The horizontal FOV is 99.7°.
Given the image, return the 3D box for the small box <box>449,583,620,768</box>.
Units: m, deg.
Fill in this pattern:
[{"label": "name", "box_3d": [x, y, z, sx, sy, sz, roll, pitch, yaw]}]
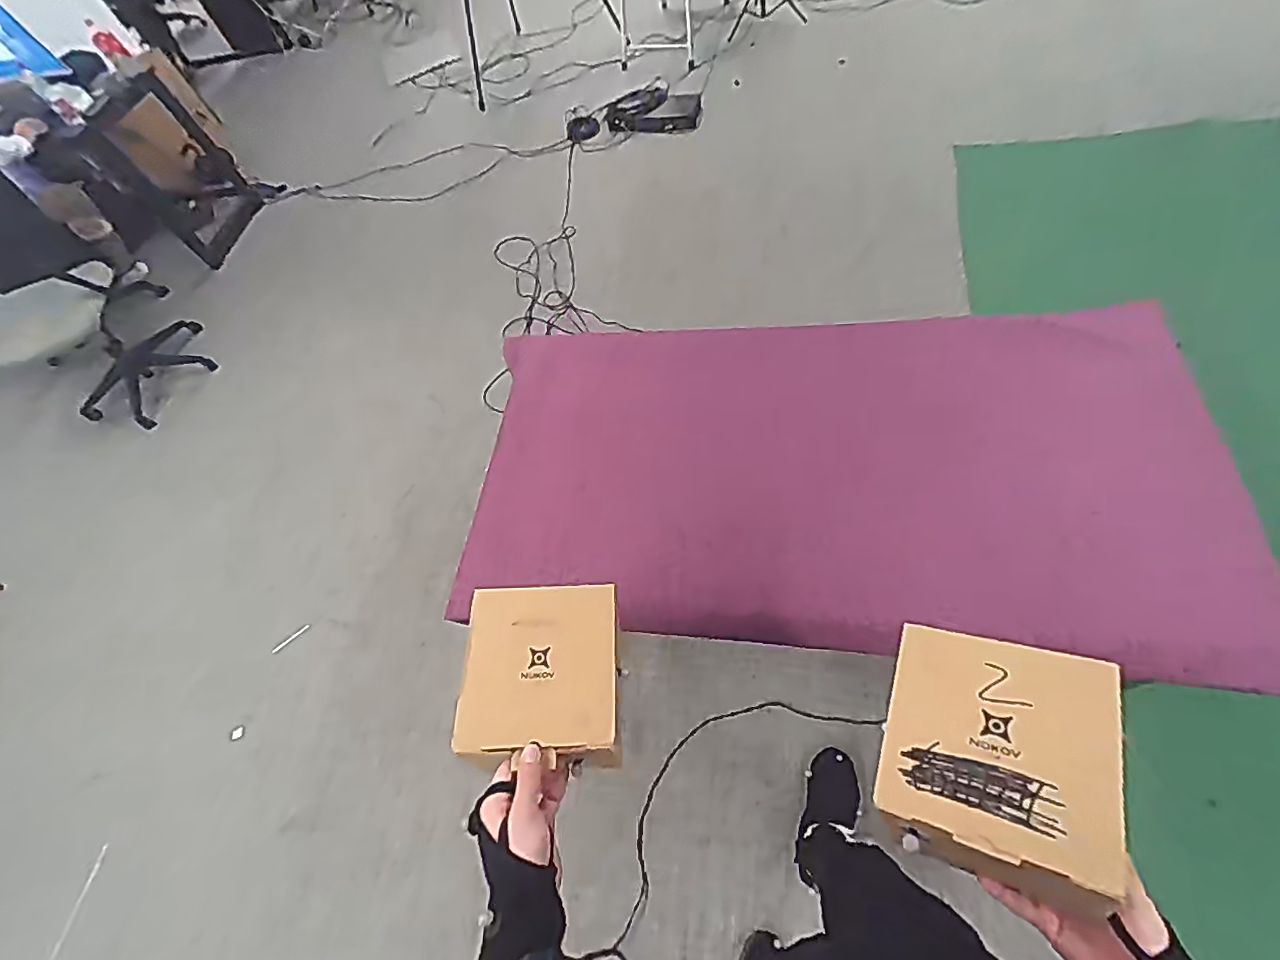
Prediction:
[{"label": "small box", "box_3d": [-0.110, 0.240, 0.648, 0.168, 0.176, 0.179, -1, 54, 0]}]
